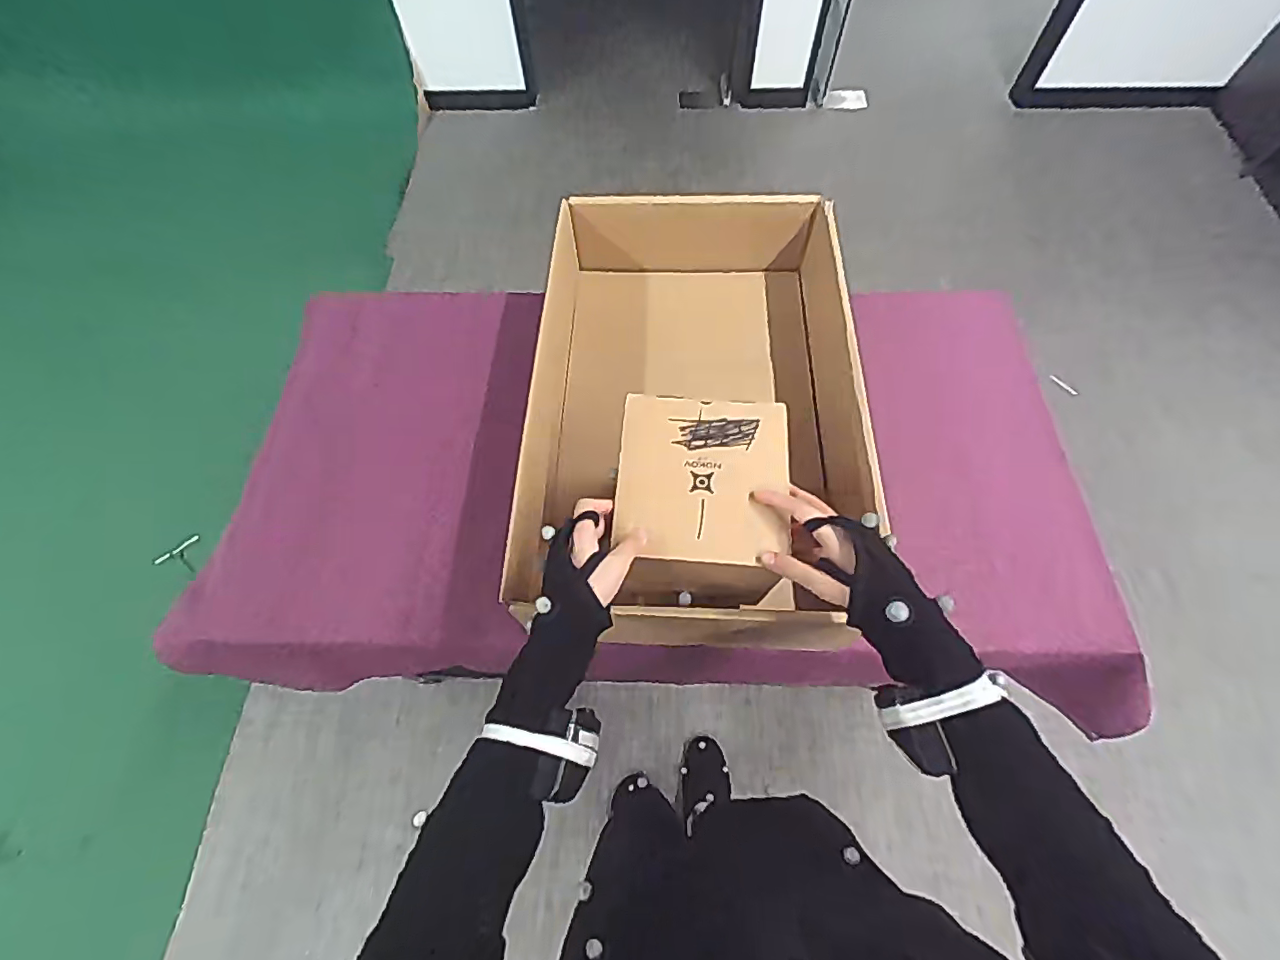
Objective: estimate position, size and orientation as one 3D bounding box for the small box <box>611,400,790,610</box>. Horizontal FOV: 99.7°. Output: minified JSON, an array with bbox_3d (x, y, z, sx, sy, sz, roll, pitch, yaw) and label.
[{"bbox_3d":[0.061,0.035,0.595,0.168,0.176,0.179,4,66,2],"label":"small box"}]
